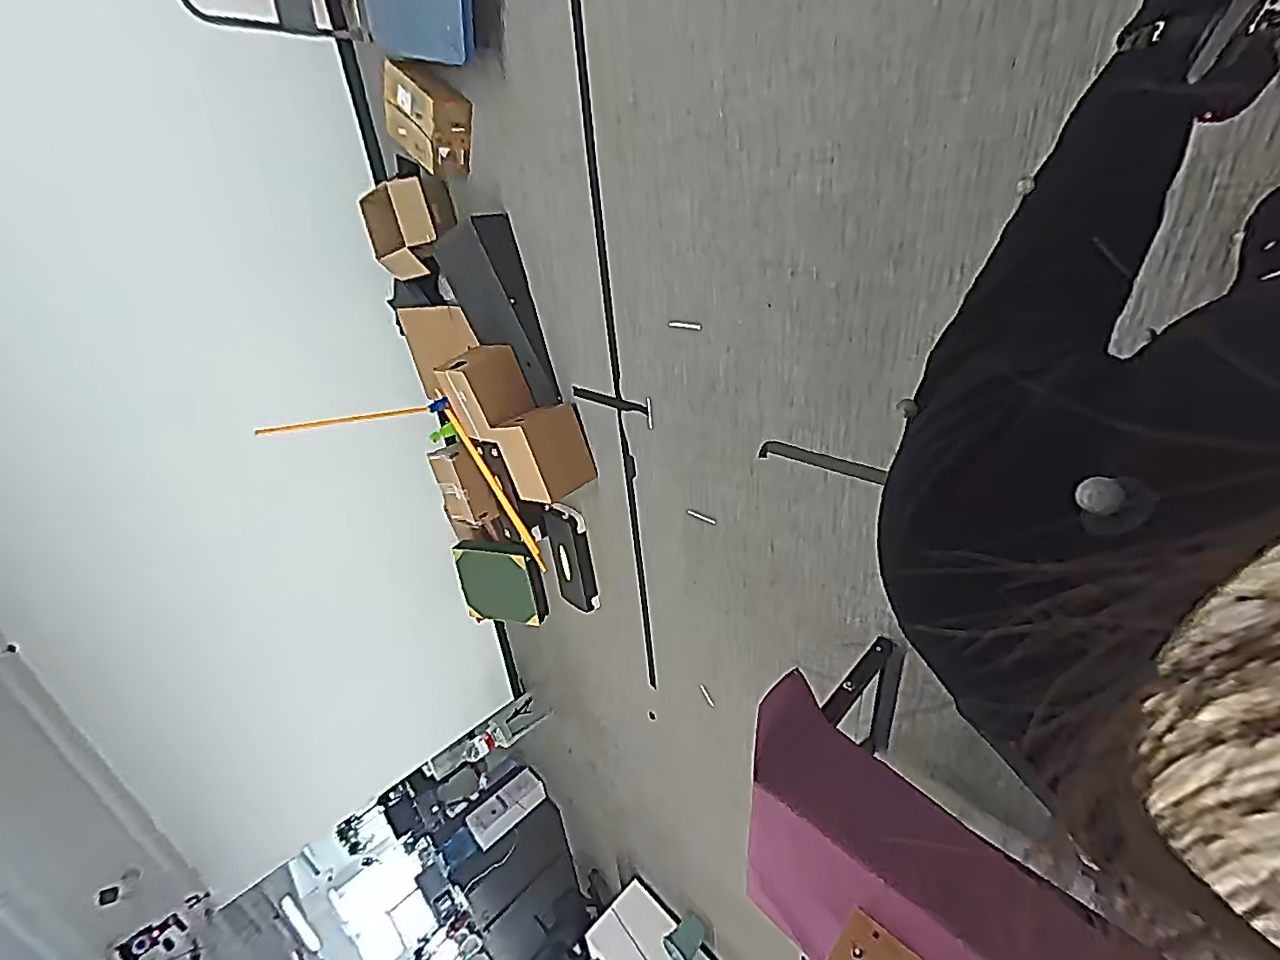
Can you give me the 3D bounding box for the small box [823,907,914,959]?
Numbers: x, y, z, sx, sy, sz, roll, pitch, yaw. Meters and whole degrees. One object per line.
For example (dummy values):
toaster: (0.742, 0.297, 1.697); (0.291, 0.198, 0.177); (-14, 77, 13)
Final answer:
small box: (0.523, 1.150, 1.246); (0.168, 0.176, 0.179); (22, 128, 42)
